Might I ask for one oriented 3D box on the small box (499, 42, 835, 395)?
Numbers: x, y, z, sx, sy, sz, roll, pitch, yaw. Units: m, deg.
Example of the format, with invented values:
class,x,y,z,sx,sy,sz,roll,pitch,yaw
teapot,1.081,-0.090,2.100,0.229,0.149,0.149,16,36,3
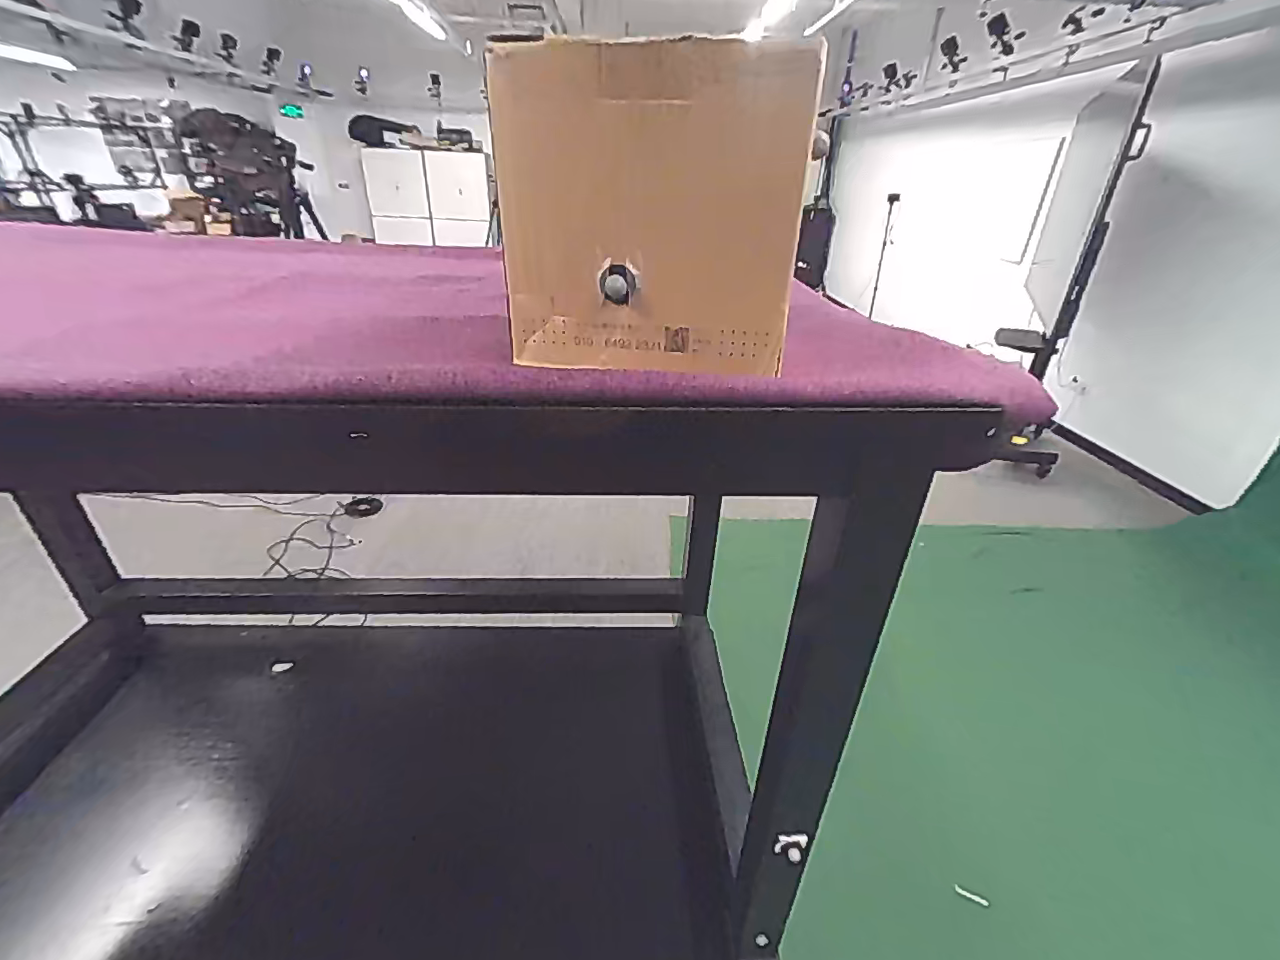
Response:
class,x,y,z,sx,sy,sz,roll,pitch,yaw
small box,0.019,-0.171,0.365,0.168,0.176,0.179,6,31,7
